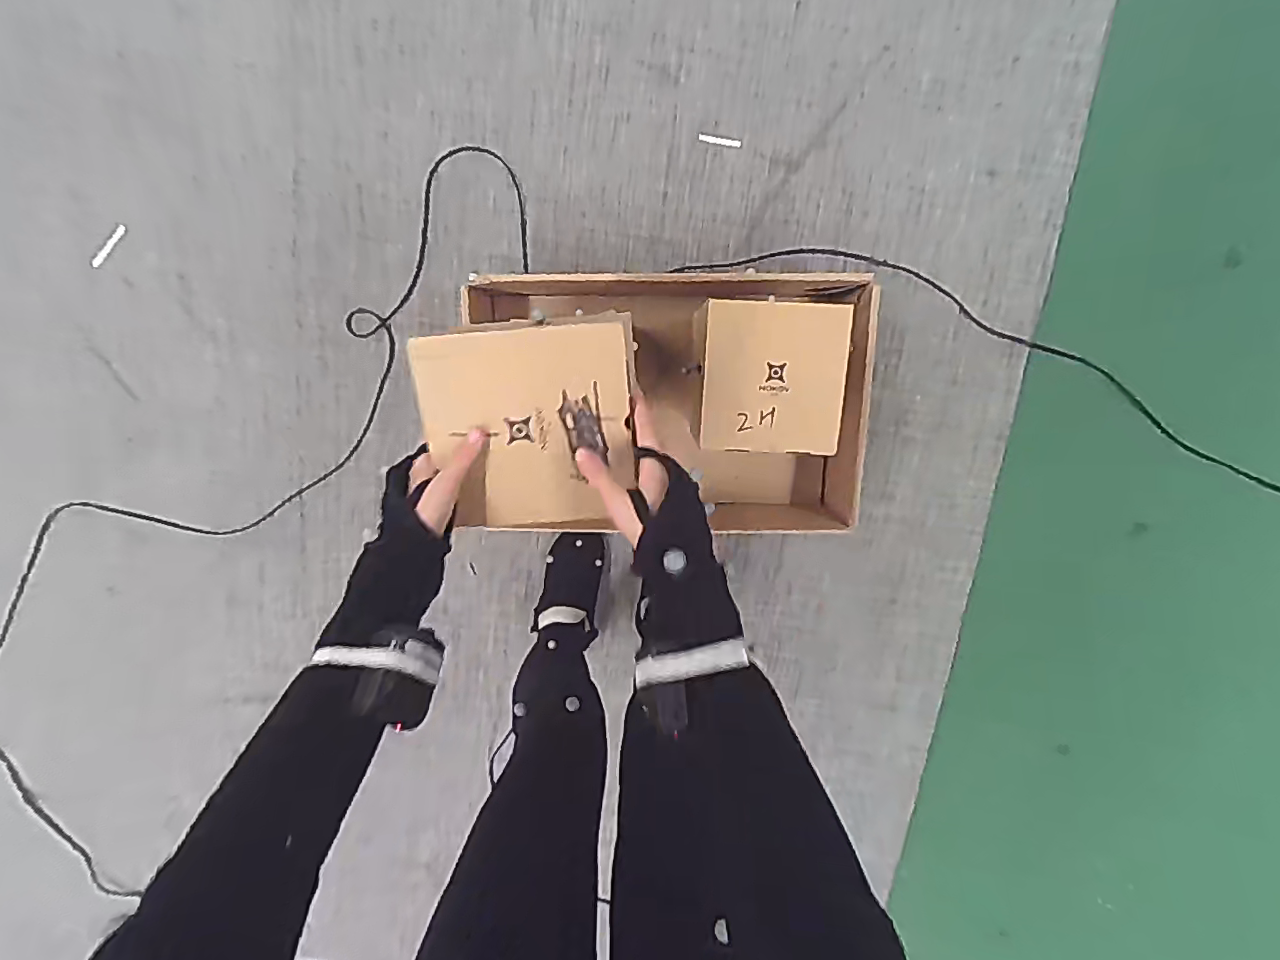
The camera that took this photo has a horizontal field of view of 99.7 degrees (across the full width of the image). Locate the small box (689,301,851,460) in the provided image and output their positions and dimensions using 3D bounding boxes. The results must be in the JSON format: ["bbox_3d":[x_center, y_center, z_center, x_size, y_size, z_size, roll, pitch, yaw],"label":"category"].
[{"bbox_3d":[0.155,-0.130,0.705,0.168,0.176,0.179,3,103,1],"label":"small box"}]

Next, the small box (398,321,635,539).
[{"bbox_3d":[-0.096,-0.058,0.518,0.179,0.176,0.168,-4,110,2],"label":"small box"}]
